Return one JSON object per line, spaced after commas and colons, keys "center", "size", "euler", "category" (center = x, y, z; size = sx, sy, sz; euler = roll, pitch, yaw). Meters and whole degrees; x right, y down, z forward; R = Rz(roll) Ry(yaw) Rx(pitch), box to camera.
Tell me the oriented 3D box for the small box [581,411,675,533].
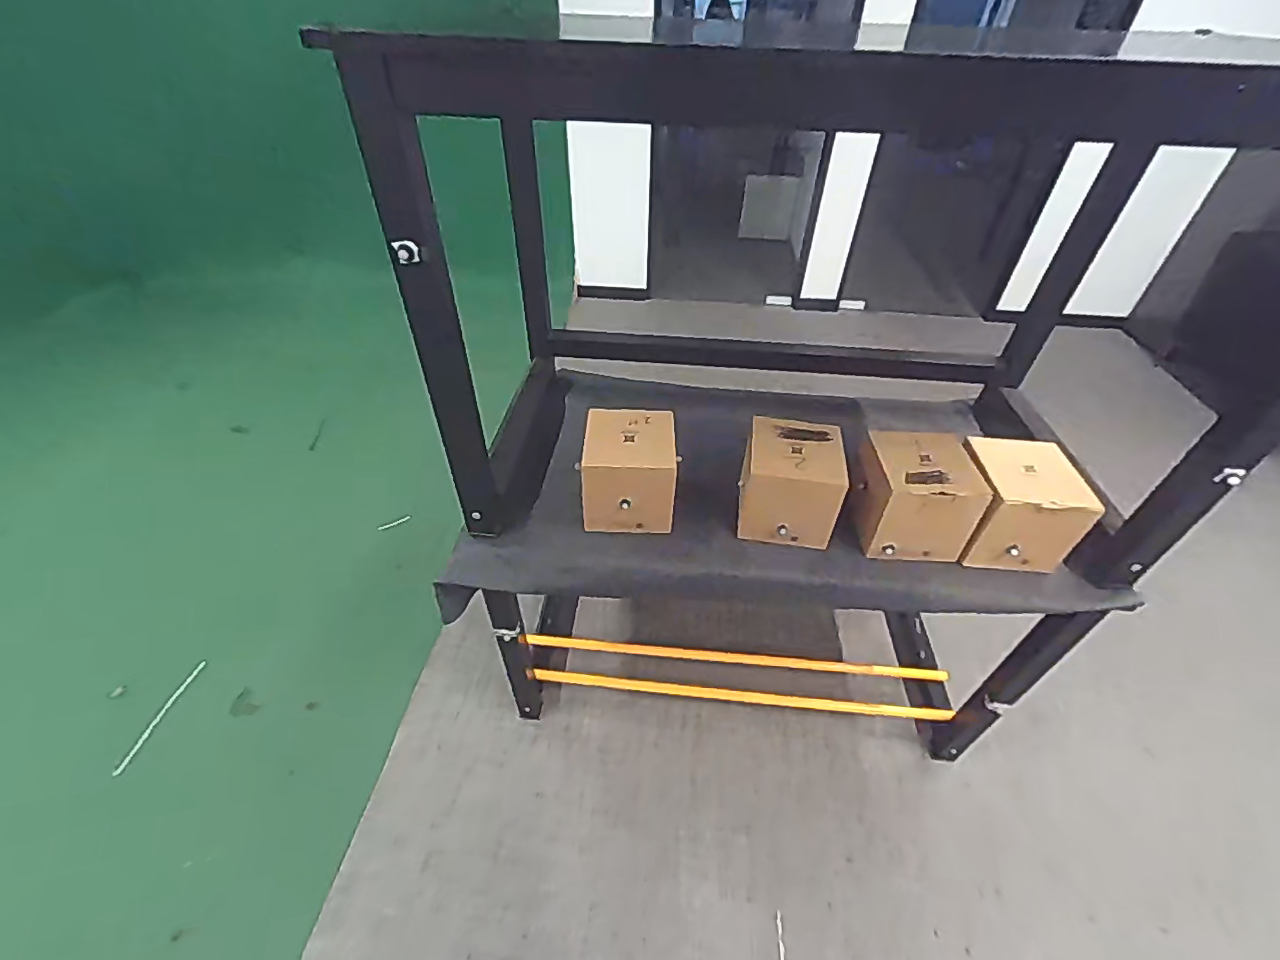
{"center": [-0.019, -0.015, 1.037], "size": [0.168, 0.176, 0.179], "euler": [2, 41, -1], "category": "small box"}
